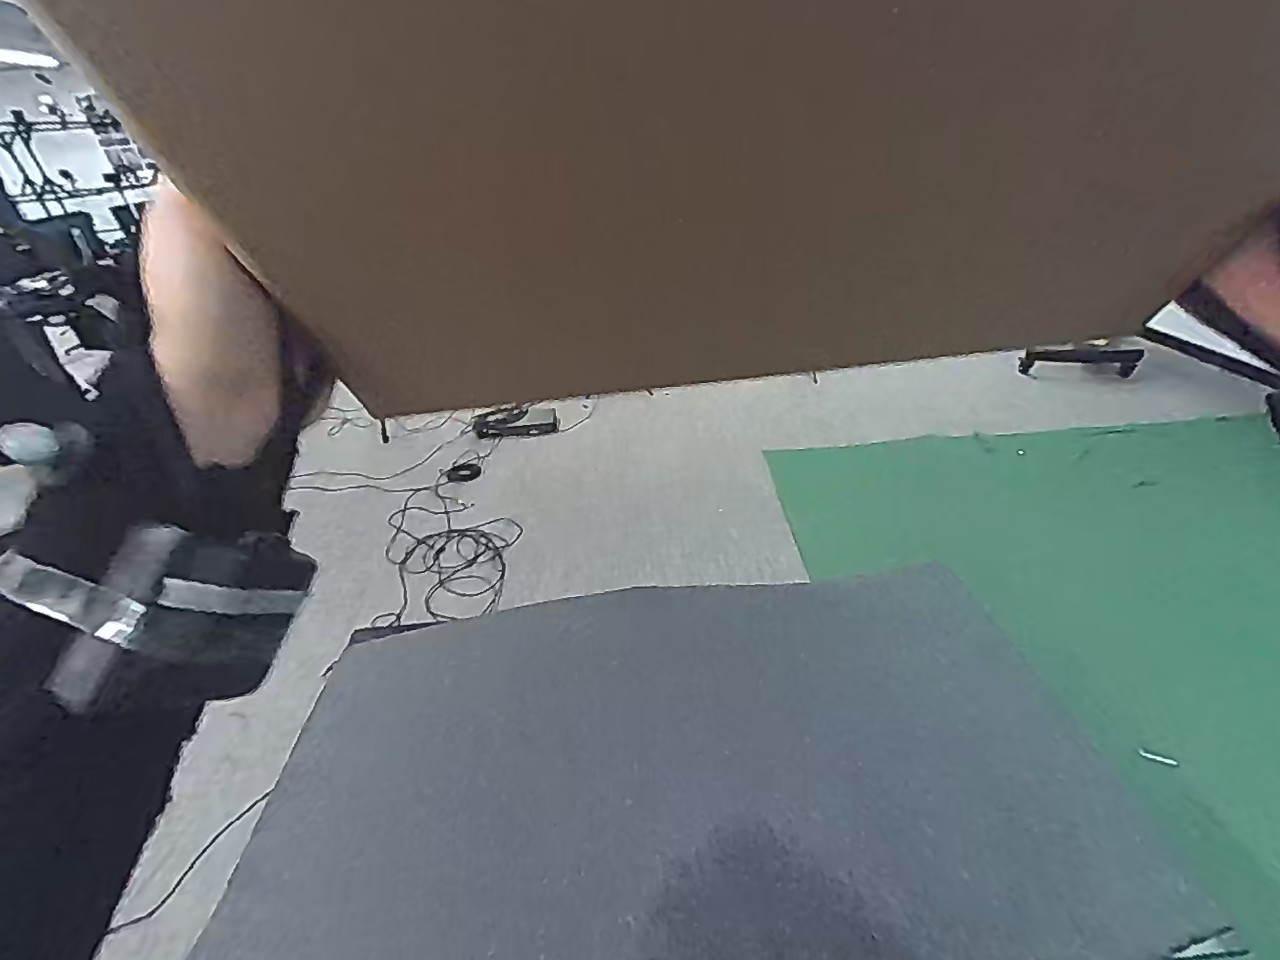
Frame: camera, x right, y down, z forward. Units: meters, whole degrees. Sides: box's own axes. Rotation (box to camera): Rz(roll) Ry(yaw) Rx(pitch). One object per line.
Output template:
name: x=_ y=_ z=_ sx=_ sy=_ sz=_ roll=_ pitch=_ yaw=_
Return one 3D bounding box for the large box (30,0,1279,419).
large box: x=0.032 y=-0.253 z=0.225 sx=0.408 sy=0.320 sz=0.320 roll=-7 pitch=64 yaw=-1
